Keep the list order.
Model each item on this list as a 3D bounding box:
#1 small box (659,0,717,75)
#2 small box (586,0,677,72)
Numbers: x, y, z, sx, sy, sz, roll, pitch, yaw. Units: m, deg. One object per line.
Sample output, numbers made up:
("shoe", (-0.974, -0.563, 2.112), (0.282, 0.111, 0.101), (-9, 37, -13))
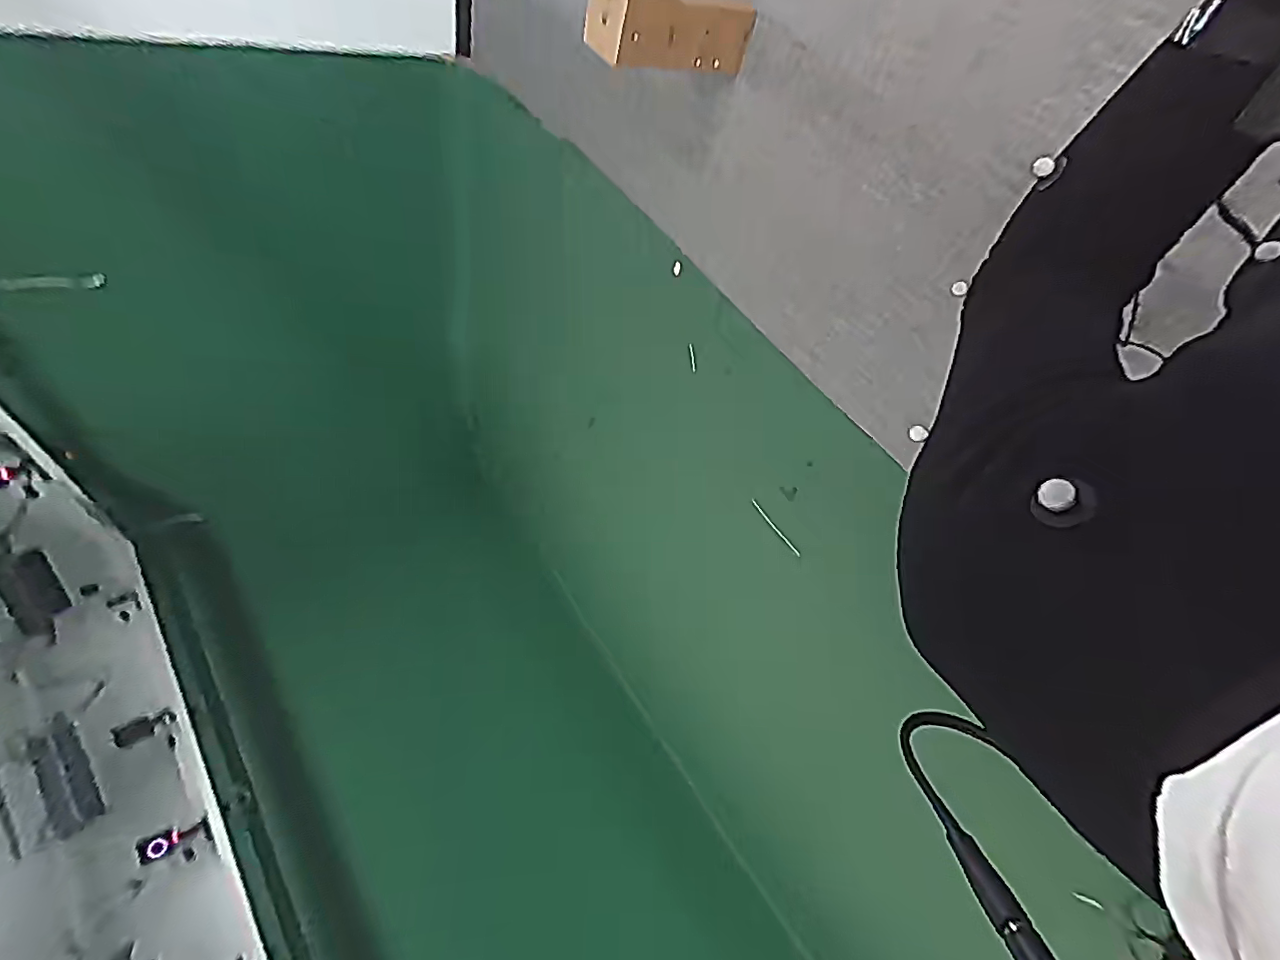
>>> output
("small box", (0.097, -1.319, 1.585), (0.179, 0.176, 0.168), (52, 144, 22))
("small box", (-0.022, -1.258, 1.487), (0.168, 0.176, 0.179), (52, 144, 21))
